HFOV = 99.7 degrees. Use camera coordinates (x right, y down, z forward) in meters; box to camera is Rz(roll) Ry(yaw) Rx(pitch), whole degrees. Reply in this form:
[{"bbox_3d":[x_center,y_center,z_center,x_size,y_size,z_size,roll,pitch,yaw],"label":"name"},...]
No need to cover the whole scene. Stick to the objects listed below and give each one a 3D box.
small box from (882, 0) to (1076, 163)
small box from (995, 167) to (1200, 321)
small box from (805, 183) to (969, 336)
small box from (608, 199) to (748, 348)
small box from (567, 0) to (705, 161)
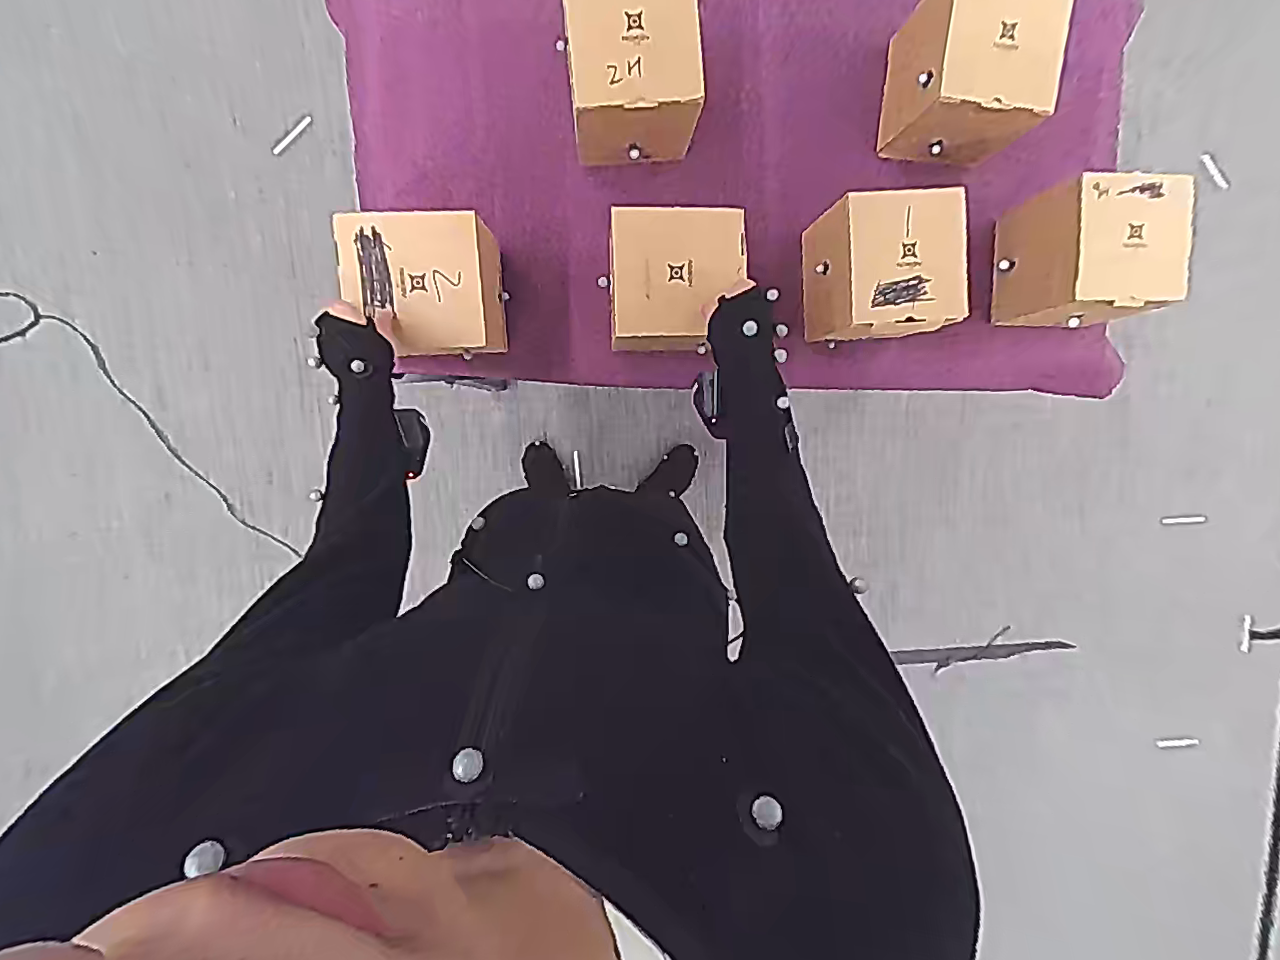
[{"bbox_3d":[0.474,-0.595,0.779,0.168,0.176,0.179,4,98,-4],"label":"small box"},{"bbox_3d":[0.674,-0.343,0.820,0.168,0.176,0.179,0,95,-4],"label":"small box"},{"bbox_3d":[0.354,-0.313,0.801,0.168,0.176,0.179,-4,96,-4],"label":"small box"},{"bbox_3d":[0.047,-0.286,0.782,0.179,0.176,0.168,-2,96,-5],"label":"small box"},{"bbox_3d":[-0.012,-0.572,0.744,0.168,0.176,0.179,-6,98,-4],"label":"small box"}]
